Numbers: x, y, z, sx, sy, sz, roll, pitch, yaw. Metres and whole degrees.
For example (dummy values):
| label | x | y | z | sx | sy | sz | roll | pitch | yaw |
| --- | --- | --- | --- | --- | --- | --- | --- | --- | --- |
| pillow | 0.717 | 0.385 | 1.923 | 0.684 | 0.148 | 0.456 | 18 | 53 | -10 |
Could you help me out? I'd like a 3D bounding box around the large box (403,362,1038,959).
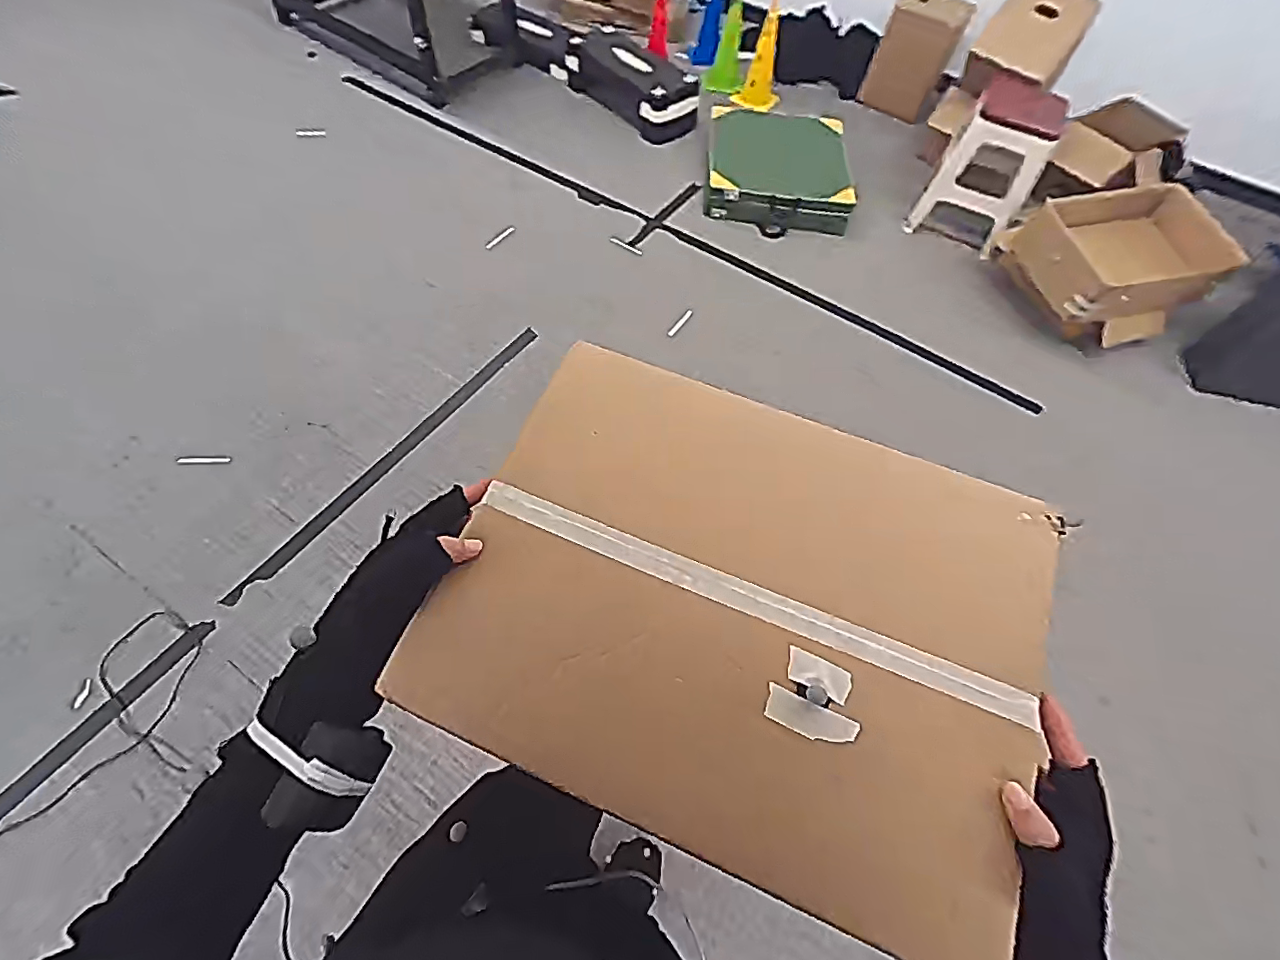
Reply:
| label | x | y | z | sx | sy | sz | roll | pitch | yaw |
| --- | --- | --- | --- | --- | --- | --- | --- | --- | --- |
| large box | 0.072 | 0.147 | 0.534 | 0.408 | 0.320 | 0.320 | 21 | 69 | 9 |
